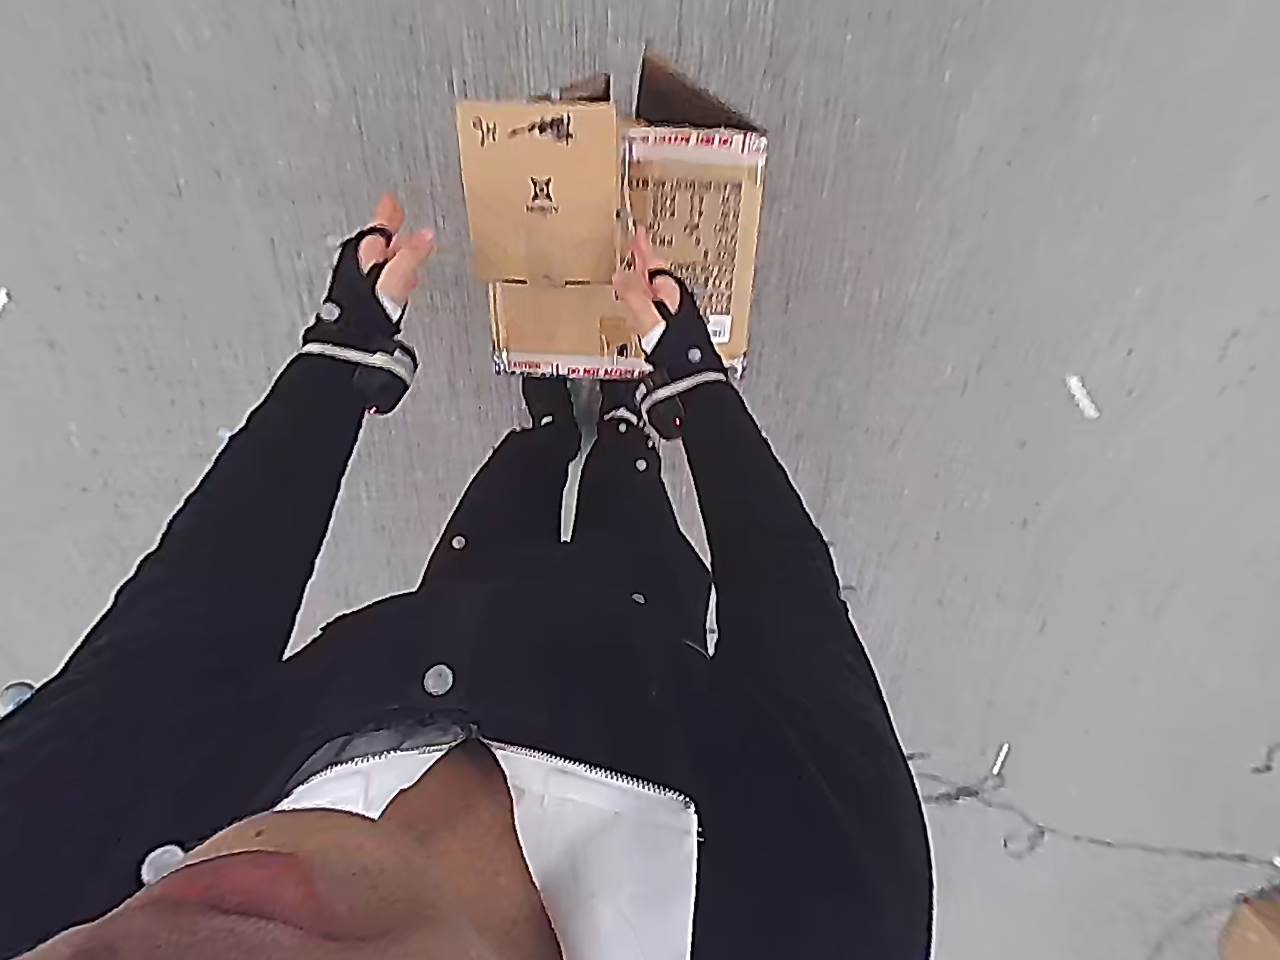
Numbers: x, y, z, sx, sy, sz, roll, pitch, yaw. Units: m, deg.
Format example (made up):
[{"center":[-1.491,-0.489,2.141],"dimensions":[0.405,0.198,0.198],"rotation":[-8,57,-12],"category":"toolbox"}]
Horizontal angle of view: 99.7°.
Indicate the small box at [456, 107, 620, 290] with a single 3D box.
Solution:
[{"center":[-0.110,-0.339,0.662],"dimensions":[0.168,0.176,0.179],"rotation":[1,117,-1],"category":"small box"}]
